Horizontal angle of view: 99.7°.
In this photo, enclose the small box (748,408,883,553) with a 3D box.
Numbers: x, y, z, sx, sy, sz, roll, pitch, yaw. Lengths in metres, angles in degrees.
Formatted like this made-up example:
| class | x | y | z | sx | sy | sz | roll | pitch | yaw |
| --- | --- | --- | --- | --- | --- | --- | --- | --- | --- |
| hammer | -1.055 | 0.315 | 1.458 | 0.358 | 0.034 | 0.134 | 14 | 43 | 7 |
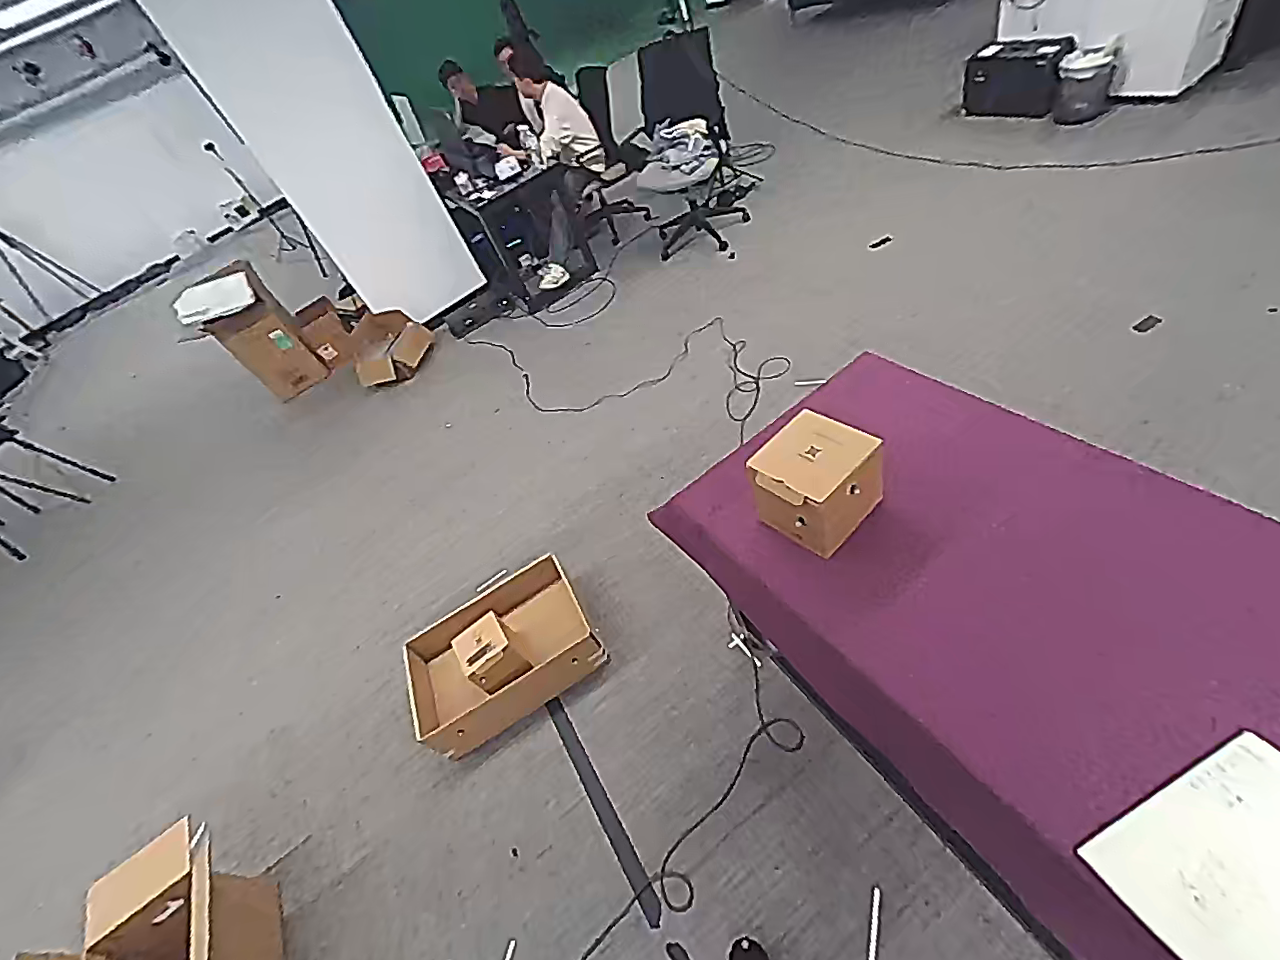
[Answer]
| class | x | y | z | sx | sy | sz | roll | pitch | yaw |
| --- | --- | --- | --- | --- | --- | --- | --- | --- | --- |
| small box | 0.333 | 0.004 | 1.009 | 0.179 | 0.176 | 0.168 | -42 | 47 | -15 |
